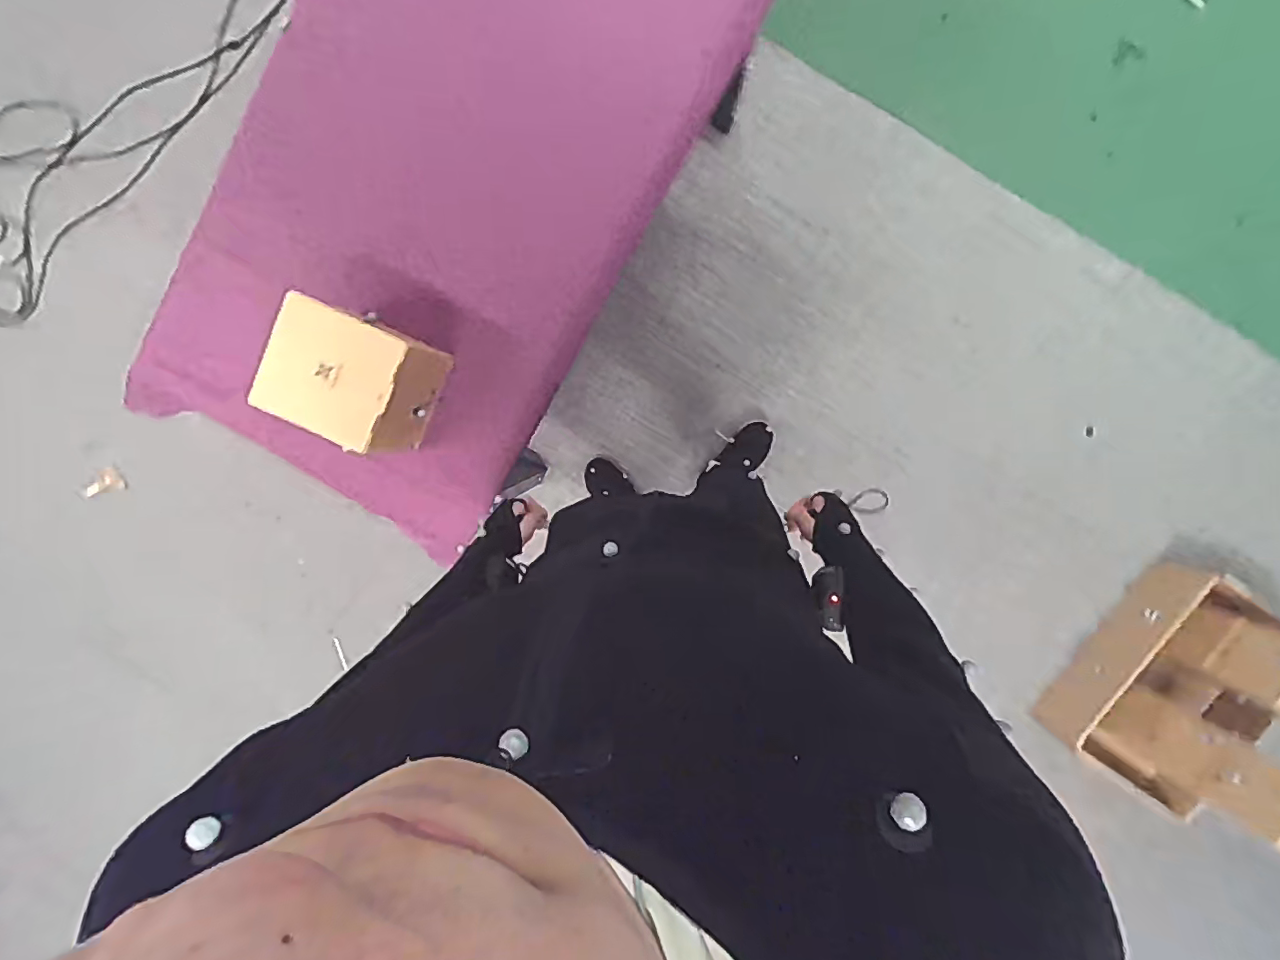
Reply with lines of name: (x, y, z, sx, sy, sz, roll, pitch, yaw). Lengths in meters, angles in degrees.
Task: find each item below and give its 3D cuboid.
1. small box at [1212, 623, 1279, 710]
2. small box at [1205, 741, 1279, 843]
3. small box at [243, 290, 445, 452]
small box: (1.601, 0.480, 1.329, 0.179, 0.176, 0.168, 32, 95, -4)
small box: (1.438, 0.718, 1.191, 0.179, 0.176, 0.168, 31, 95, -2)
small box: (-0.423, -0.151, 0.801, 0.179, 0.176, 0.168, 24, 96, -2)
